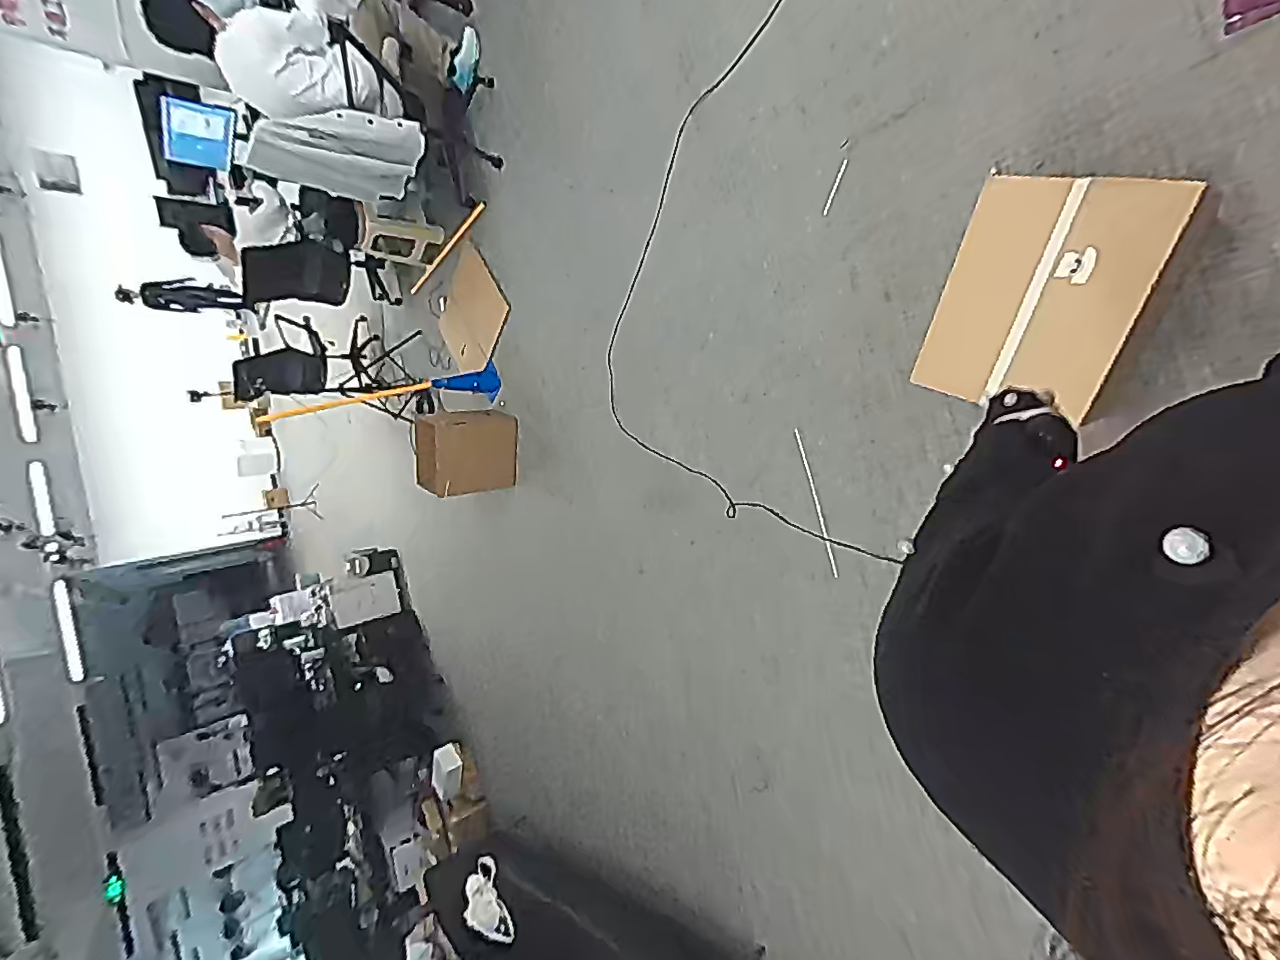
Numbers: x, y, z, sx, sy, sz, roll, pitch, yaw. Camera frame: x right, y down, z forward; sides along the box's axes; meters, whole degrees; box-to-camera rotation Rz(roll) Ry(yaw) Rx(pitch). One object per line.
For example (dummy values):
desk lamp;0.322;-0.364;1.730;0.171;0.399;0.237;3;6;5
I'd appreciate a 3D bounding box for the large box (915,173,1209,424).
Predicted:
large box;0.831;-0.356;1.090;0.320;0.320;0.408;31;120;39
